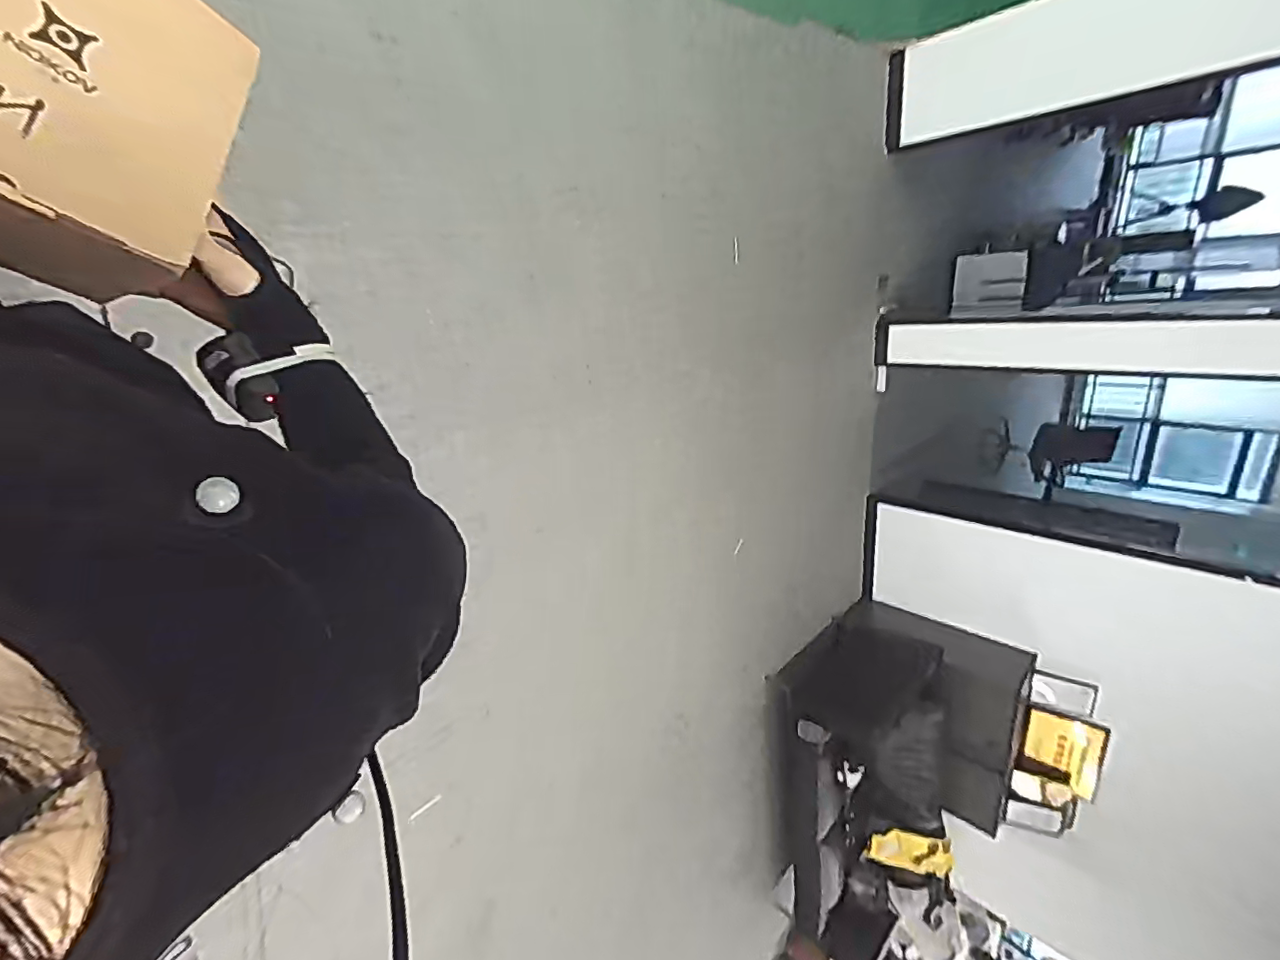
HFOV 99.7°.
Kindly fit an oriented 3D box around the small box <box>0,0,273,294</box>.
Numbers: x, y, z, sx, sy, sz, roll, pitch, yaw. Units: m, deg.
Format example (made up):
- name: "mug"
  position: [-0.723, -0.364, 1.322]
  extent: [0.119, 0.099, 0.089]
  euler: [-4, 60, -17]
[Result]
- name: "small box"
  position: [-0.378, -0.239, 0.334]
  extent: [0.168, 0.176, 0.179]
  euler: [28, 69, -58]
